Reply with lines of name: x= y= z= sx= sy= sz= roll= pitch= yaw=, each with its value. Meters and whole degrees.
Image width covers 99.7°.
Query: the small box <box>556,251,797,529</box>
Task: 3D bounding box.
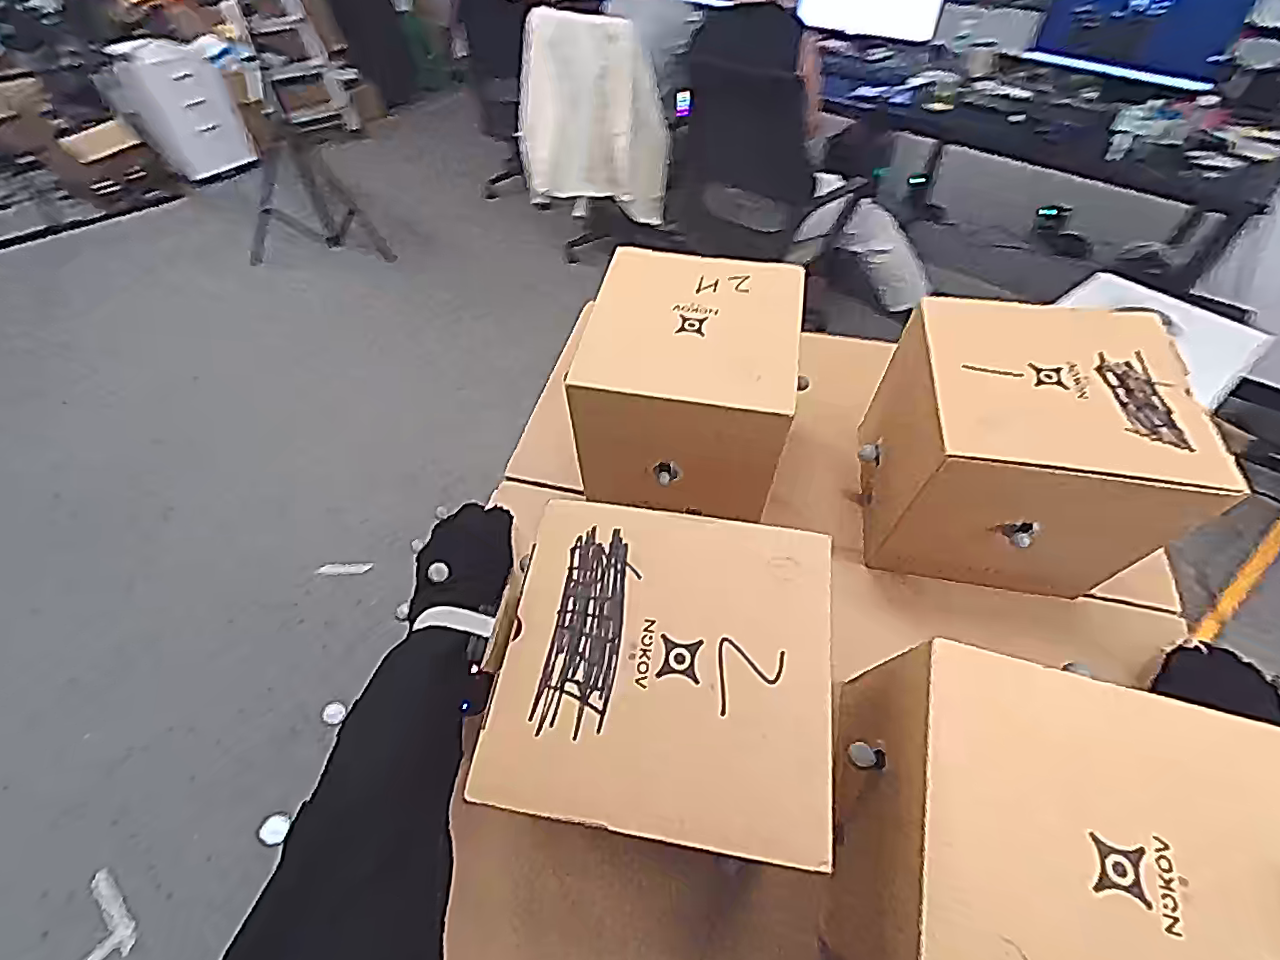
small box: x=0.037 y=-0.075 z=0.489 sx=0.168 sy=0.176 sz=0.179 roll=10 pitch=57 yaw=7
